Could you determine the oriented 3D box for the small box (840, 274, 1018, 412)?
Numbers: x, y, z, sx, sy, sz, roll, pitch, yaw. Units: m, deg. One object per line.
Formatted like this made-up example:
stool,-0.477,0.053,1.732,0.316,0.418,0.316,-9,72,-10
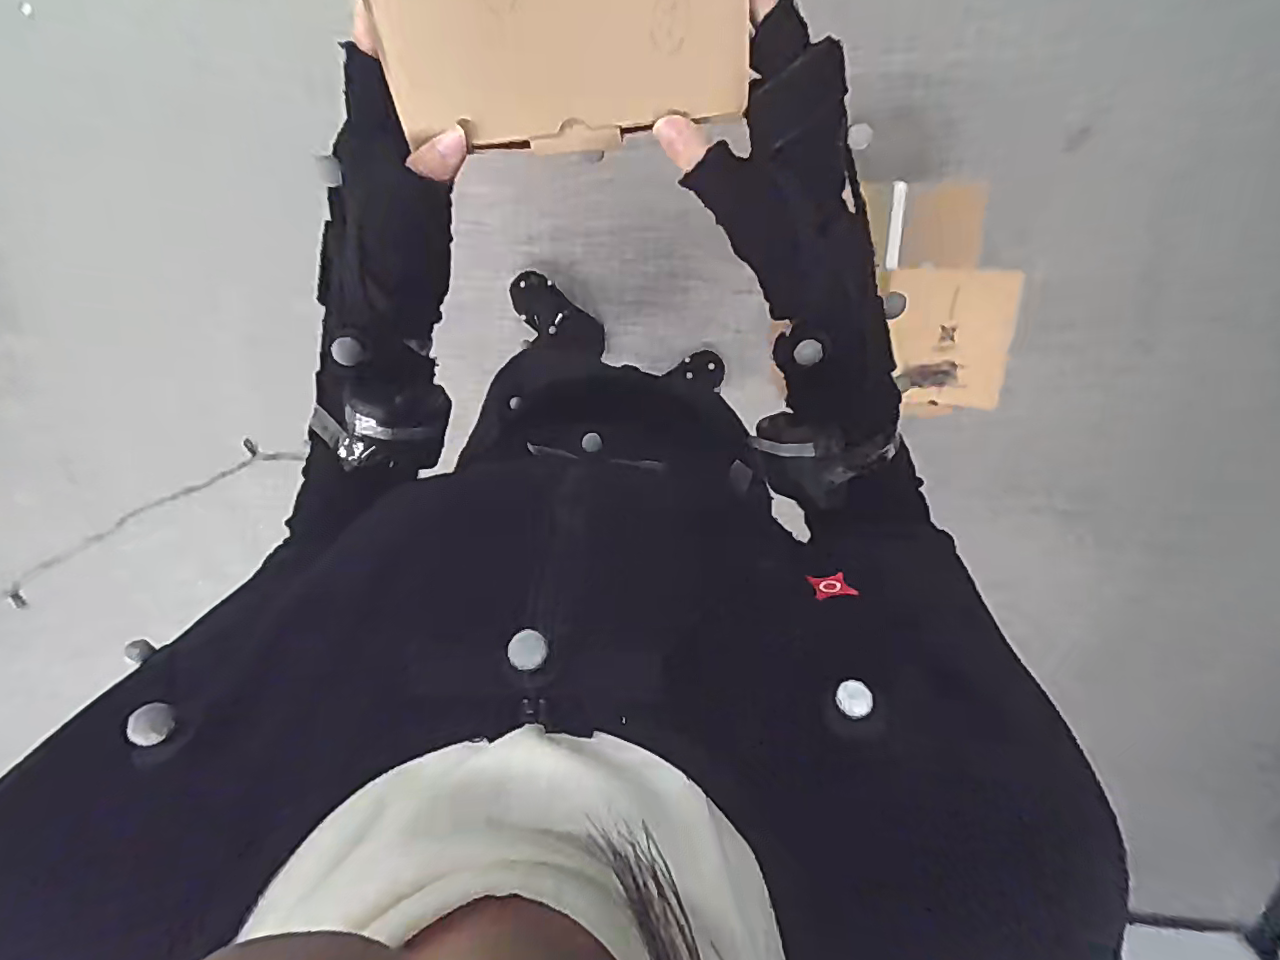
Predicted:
small box,0.398,-0.203,0.783,0.168,0.176,0.179,1,110,6
